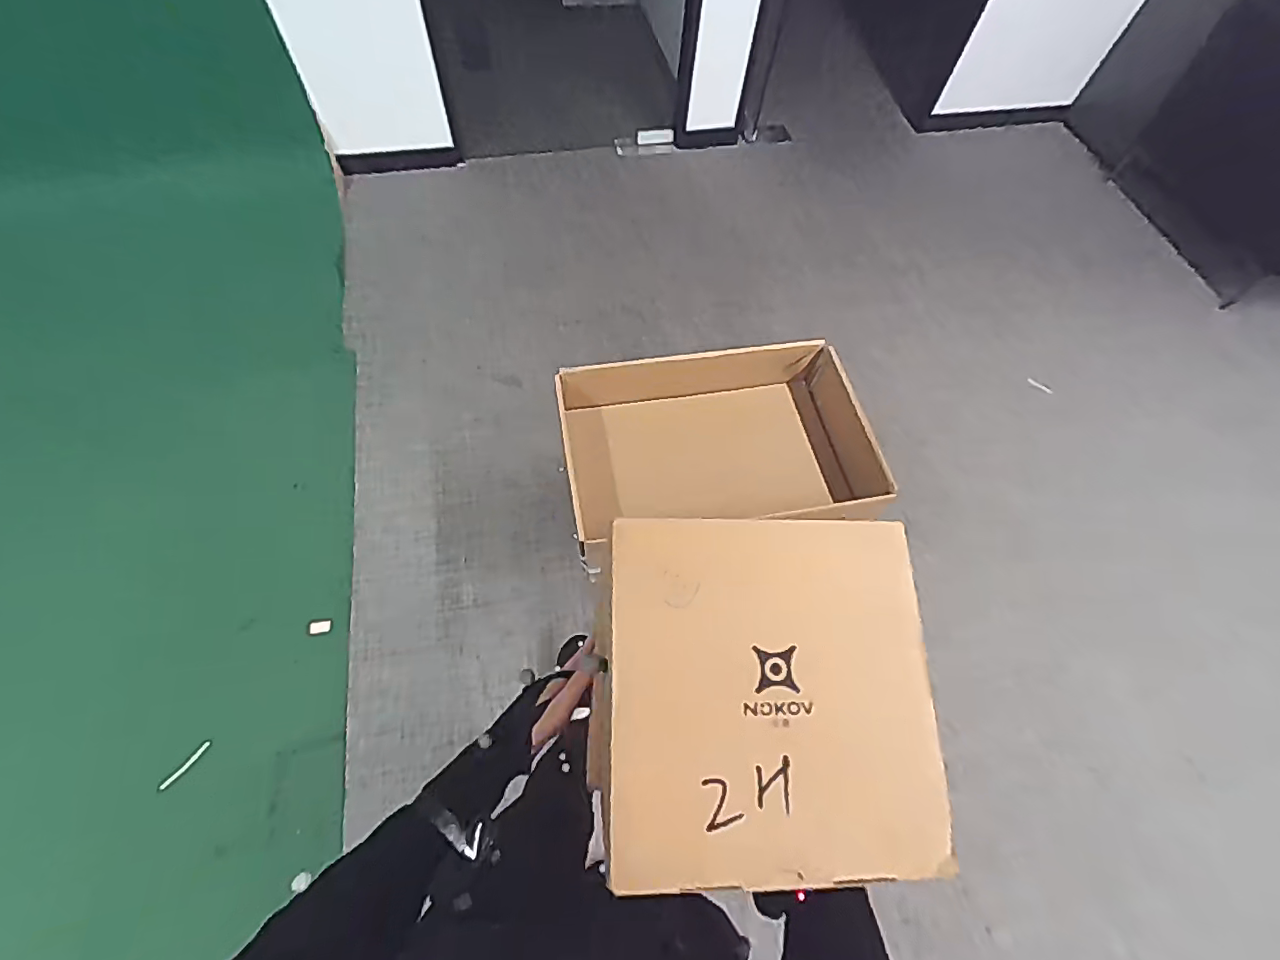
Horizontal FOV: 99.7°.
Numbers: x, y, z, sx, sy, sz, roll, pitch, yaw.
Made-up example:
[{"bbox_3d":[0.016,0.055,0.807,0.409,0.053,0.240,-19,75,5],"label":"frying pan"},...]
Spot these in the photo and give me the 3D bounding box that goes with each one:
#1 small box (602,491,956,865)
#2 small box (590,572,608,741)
[{"bbox_3d":[0.062,0.116,0.348,0.168,0.176,0.179,2,73,-4],"label":"small box"},{"bbox_3d":[0.026,0.211,0.662,0.168,0.176,0.179,3,73,-5],"label":"small box"}]
